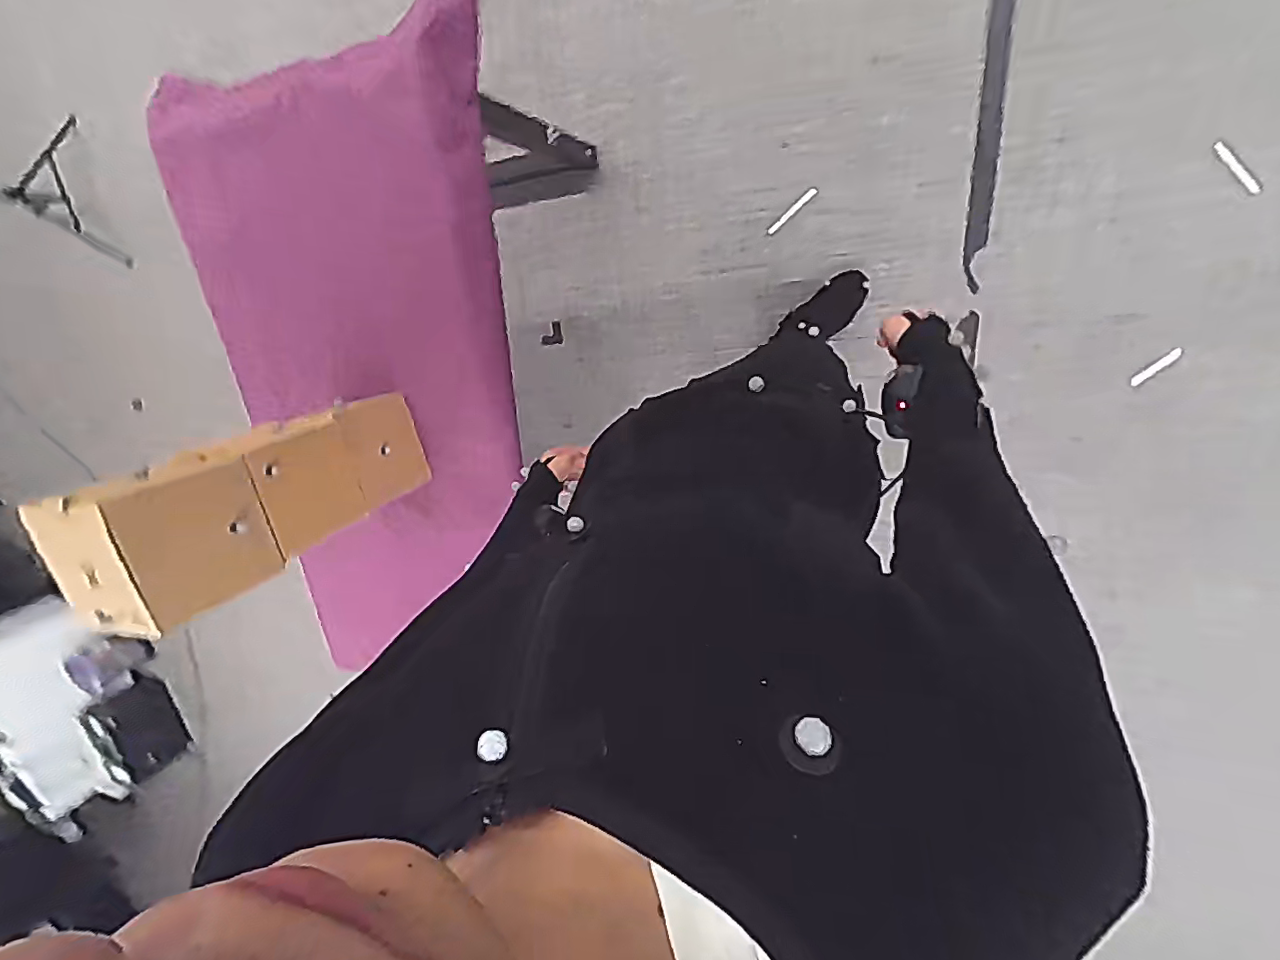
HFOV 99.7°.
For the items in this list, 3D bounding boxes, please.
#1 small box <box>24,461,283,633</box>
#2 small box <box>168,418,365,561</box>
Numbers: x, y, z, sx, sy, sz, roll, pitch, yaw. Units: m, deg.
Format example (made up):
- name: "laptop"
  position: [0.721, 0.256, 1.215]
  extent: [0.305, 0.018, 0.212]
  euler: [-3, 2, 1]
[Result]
- name: "small box"
  position: [-0.626, 0.077, 0.717]
  extent: [0.168, 0.176, 0.179]
  euler: [-1, 109, 21]
- name: "small box"
  position: [-0.577, 0.011, 0.859]
  extent: [0.168, 0.176, 0.179]
  euler: [-2, 110, 21]
